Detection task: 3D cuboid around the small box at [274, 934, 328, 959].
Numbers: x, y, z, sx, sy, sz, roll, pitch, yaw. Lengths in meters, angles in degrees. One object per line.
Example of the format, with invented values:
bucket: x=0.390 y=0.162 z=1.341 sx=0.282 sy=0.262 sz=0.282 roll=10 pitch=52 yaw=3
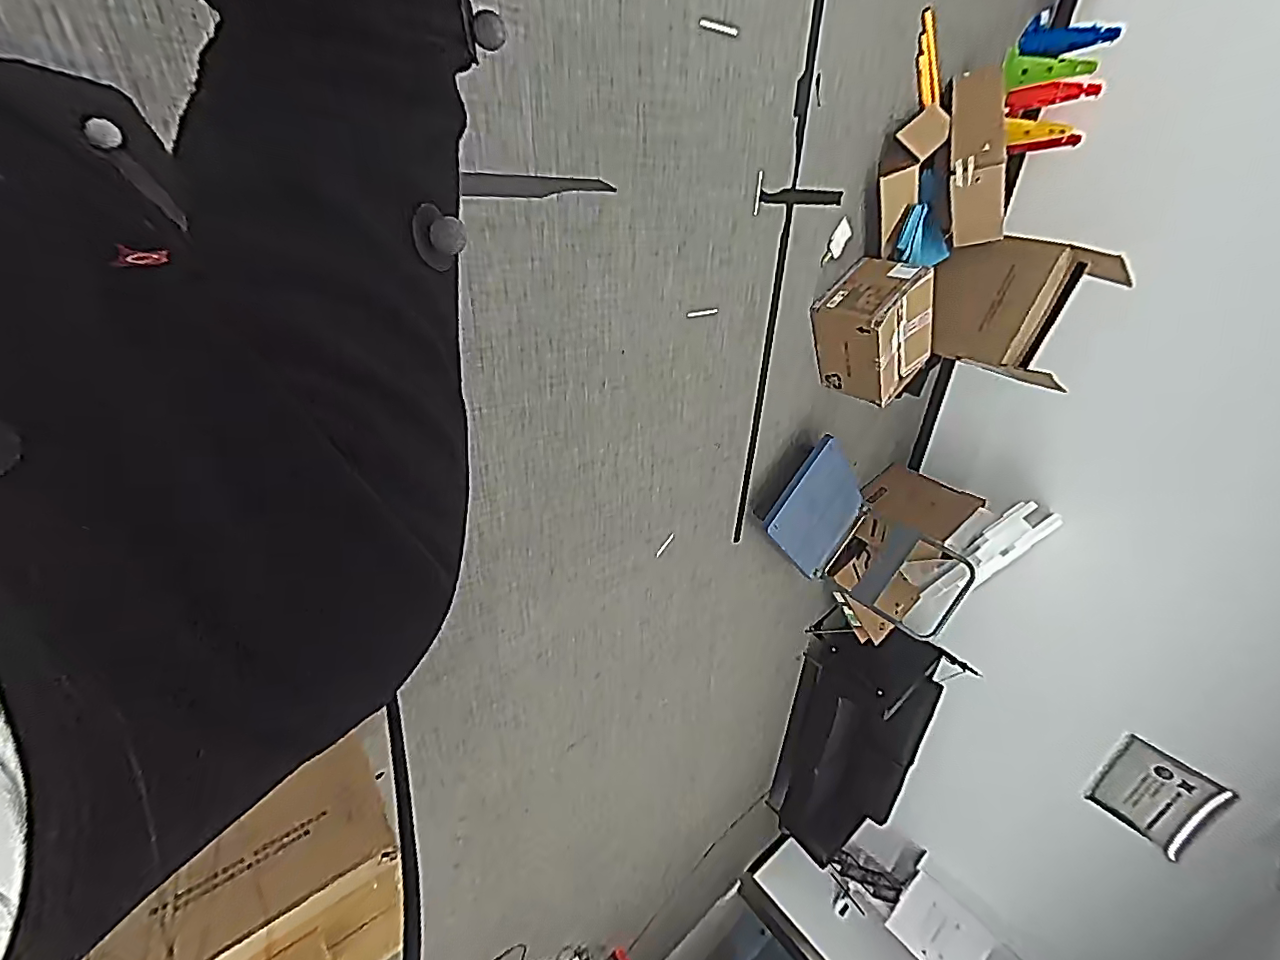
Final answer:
small box: x=-0.676 y=1.029 z=1.026 sx=0.179 sy=0.176 sz=0.168 roll=-18 pitch=125 yaw=-36
